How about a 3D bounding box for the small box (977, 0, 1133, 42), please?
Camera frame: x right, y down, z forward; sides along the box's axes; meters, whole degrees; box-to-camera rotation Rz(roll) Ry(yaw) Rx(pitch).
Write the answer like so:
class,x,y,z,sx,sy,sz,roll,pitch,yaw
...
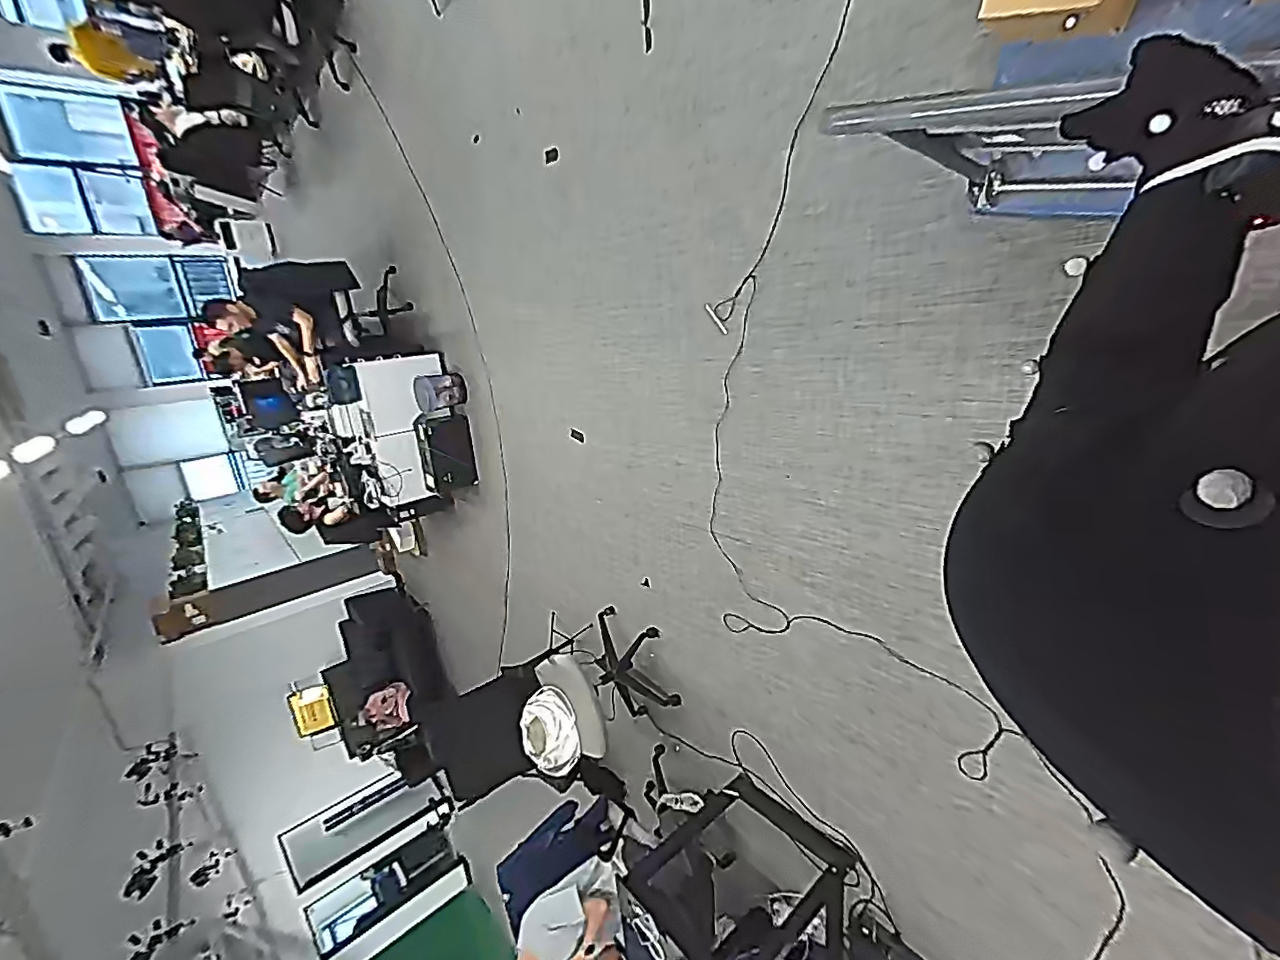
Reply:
class,x,y,z,sx,sy,sz,roll,pitch,yaw
small box,0.691,-0.829,0.868,0.179,0.176,0.168,32,127,38
